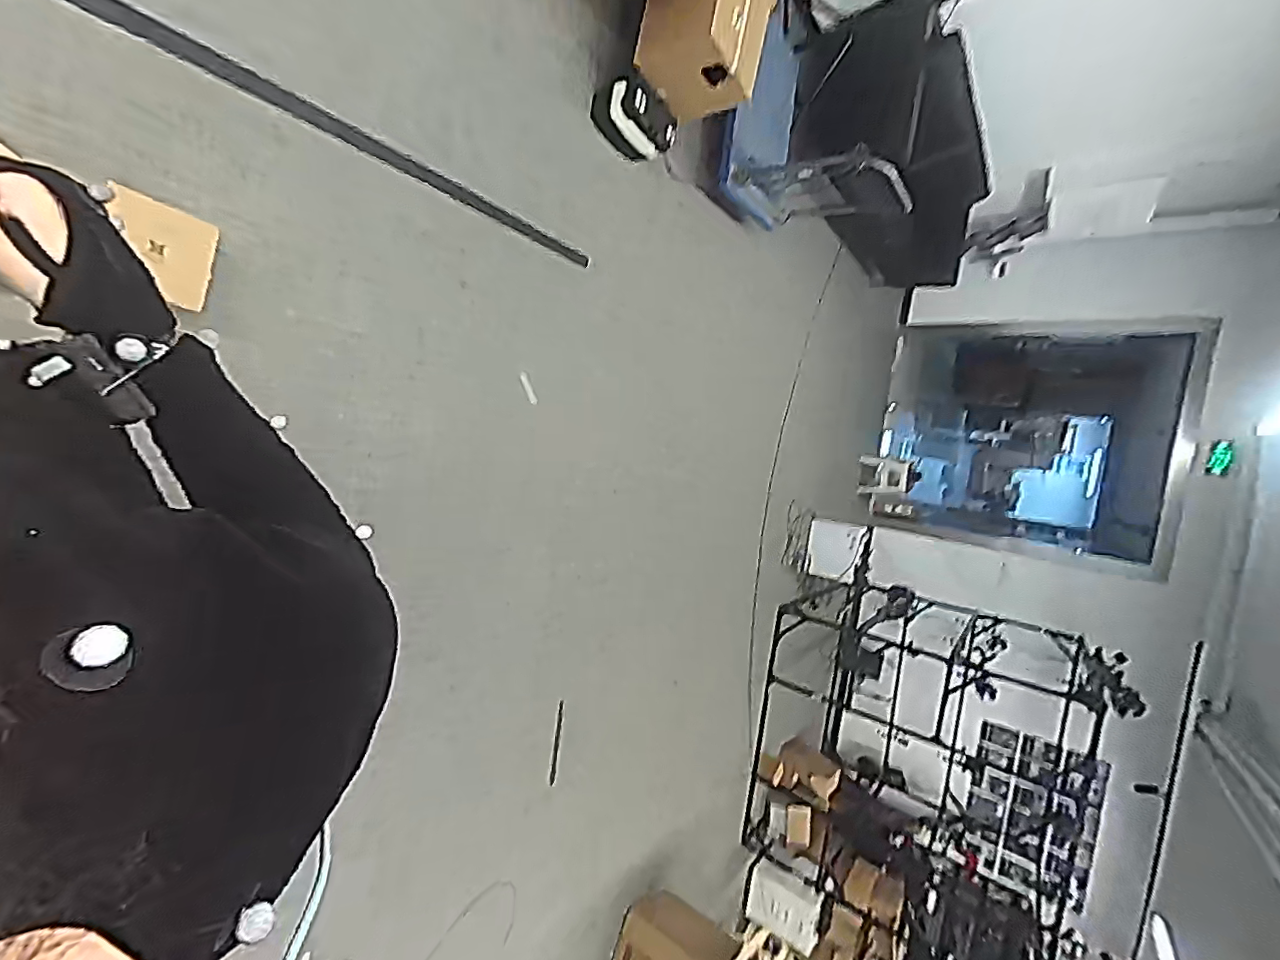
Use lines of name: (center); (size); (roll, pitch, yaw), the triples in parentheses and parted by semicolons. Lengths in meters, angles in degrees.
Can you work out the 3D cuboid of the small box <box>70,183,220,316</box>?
small box: (-0.945, -0.424, 1.030); (0.168, 0.176, 0.179); (14, 87, -55)
